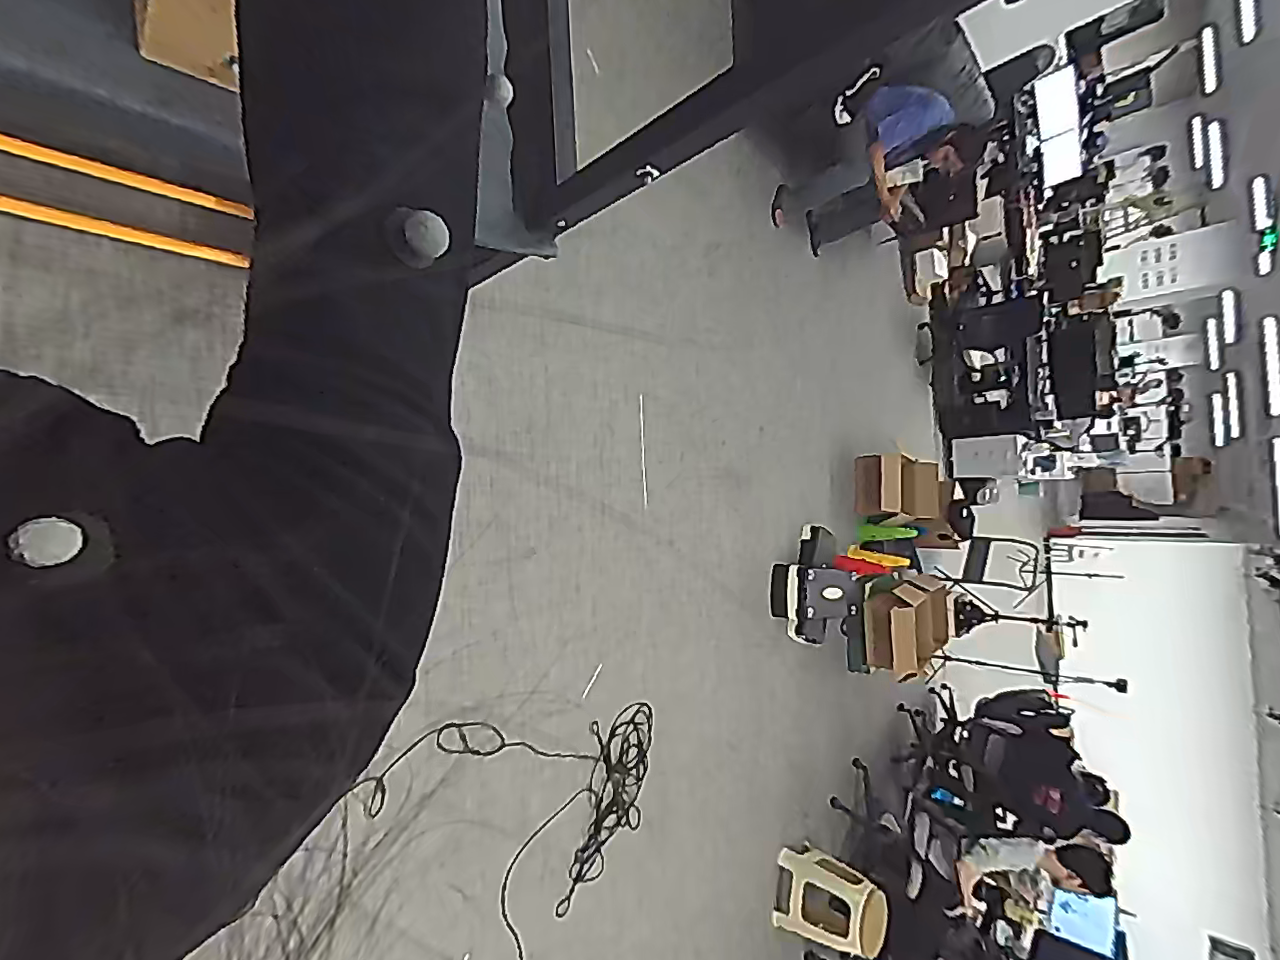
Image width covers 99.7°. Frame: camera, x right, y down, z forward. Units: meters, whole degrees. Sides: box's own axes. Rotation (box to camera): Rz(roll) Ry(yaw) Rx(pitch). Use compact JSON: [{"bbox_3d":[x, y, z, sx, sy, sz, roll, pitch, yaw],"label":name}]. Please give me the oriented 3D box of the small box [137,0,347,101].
[{"bbox_3d":[-0.451,-0.586,0.607,0.168,0.176,0.179,-4,90,-47],"label":"small box"}]
